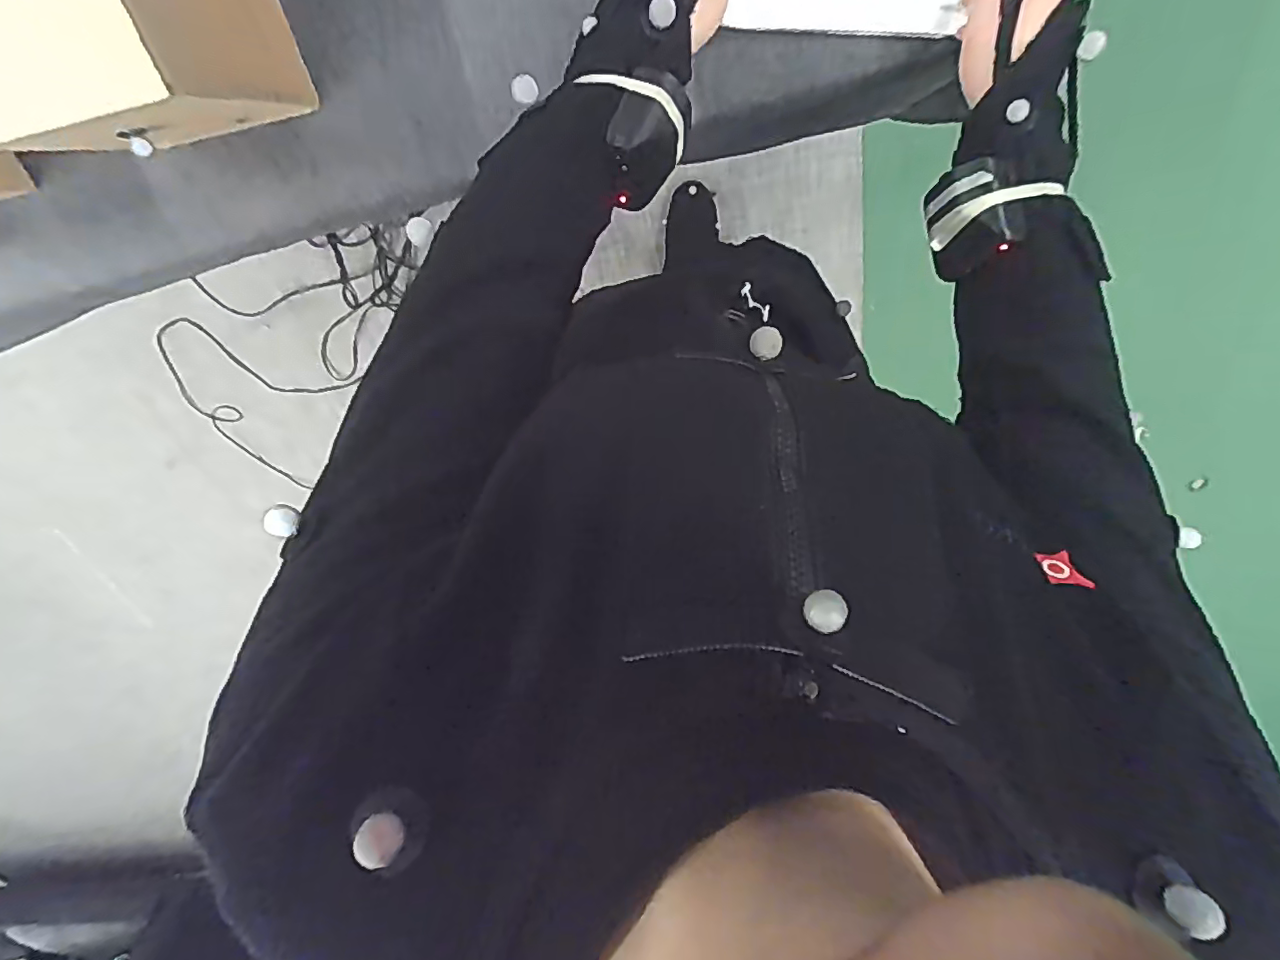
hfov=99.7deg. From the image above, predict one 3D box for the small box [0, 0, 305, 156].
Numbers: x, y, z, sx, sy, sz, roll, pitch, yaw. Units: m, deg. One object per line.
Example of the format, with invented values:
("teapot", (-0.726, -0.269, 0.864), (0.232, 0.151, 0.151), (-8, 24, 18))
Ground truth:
("small box", (-0.376, -0.335, 0.365), (0.168, 0.176, 0.179), (-7, 120, 9))
